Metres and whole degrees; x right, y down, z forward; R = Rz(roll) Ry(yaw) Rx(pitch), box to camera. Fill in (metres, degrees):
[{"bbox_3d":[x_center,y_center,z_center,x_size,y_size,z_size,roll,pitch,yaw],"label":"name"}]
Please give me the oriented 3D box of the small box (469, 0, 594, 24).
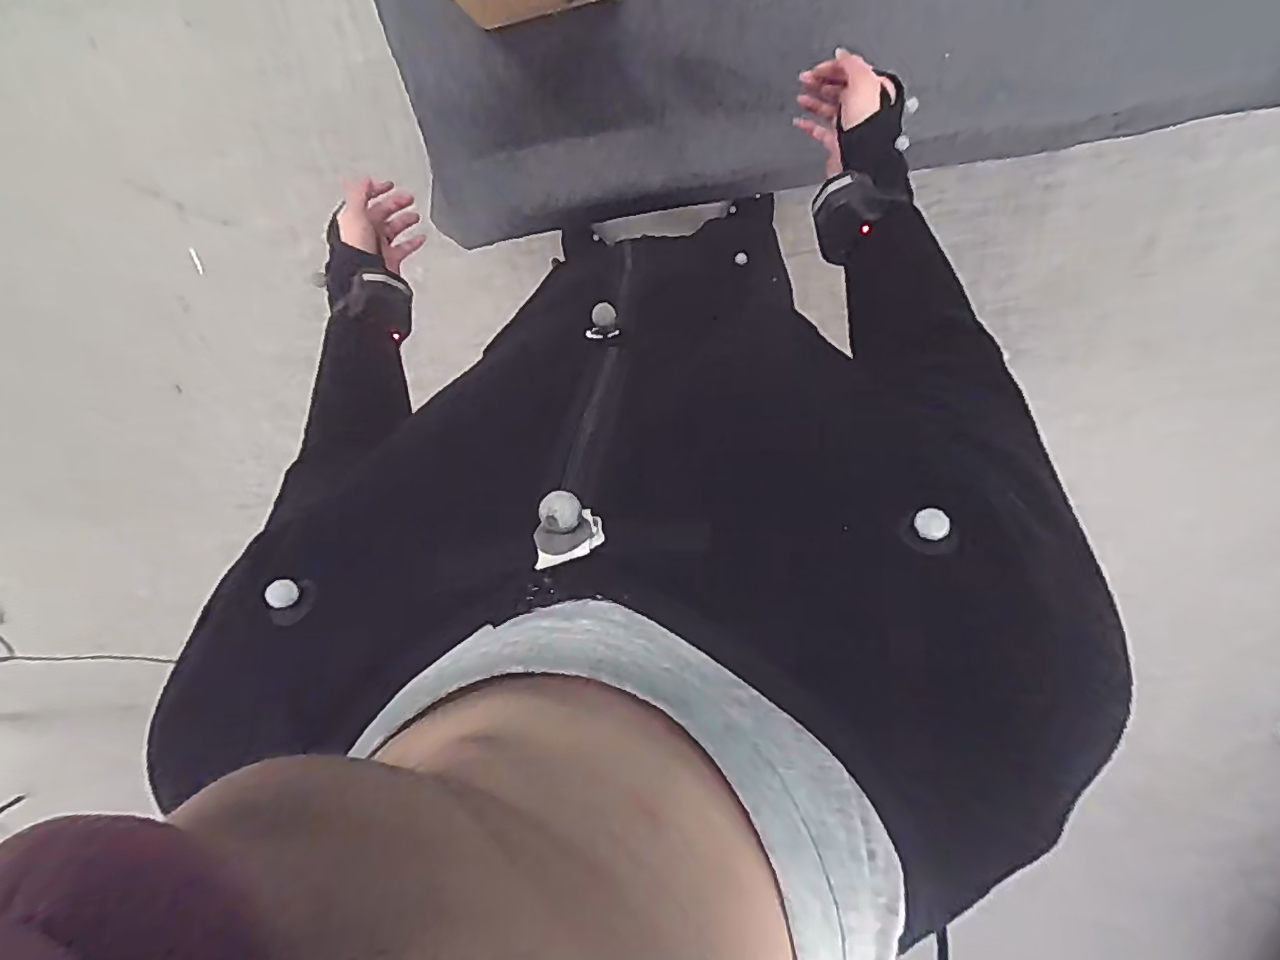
[{"bbox_3d":[-0.115,-0.558,0.483,0.168,0.176,0.179,-8,115,8],"label":"small box"}]
